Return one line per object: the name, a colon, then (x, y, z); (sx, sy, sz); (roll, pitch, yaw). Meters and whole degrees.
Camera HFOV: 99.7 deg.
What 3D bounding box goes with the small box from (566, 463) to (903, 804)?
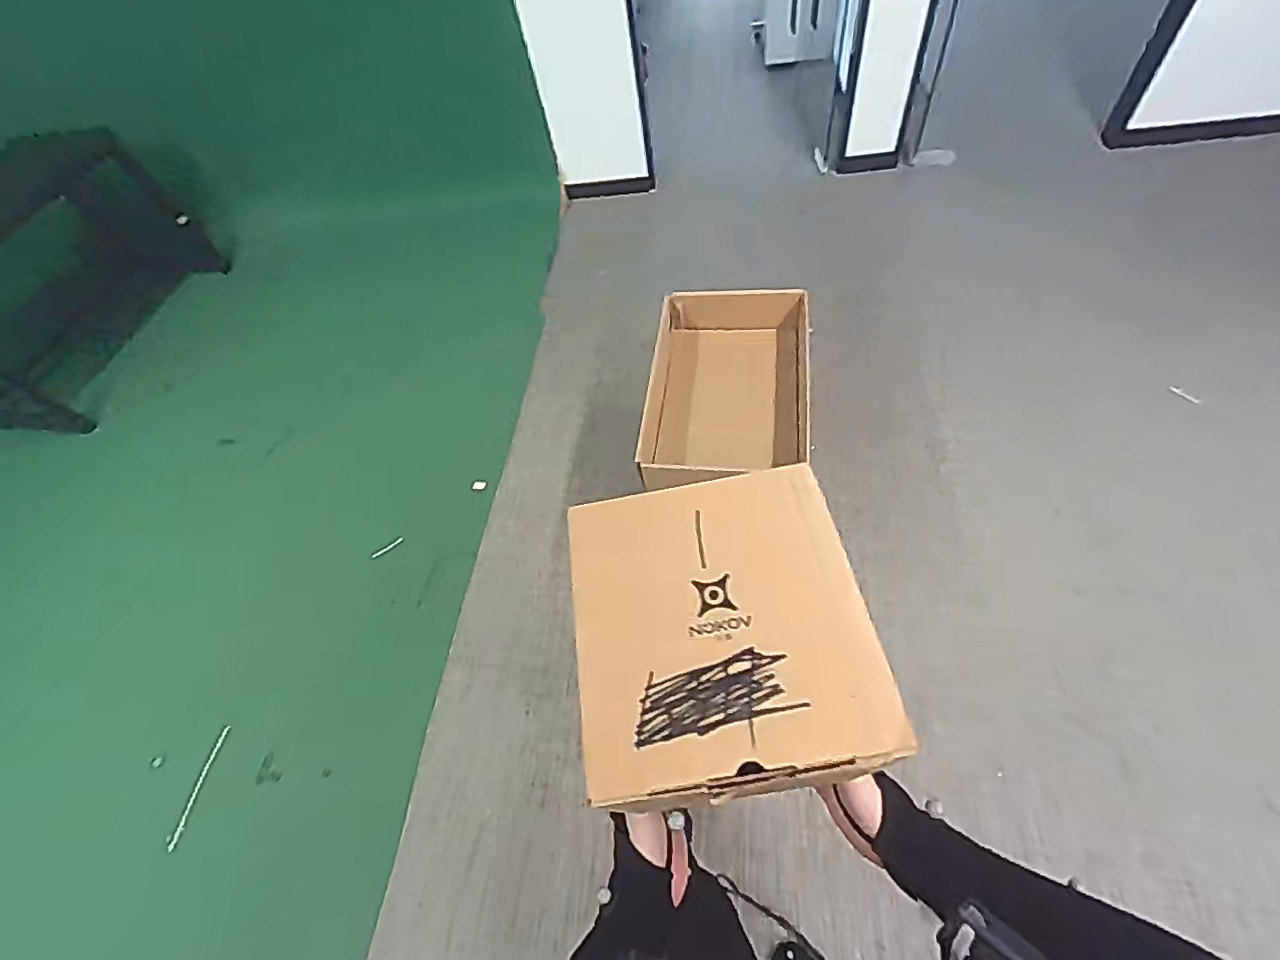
small box: (0.052, 0.116, 0.375); (0.168, 0.176, 0.179); (-10, 56, 3)
